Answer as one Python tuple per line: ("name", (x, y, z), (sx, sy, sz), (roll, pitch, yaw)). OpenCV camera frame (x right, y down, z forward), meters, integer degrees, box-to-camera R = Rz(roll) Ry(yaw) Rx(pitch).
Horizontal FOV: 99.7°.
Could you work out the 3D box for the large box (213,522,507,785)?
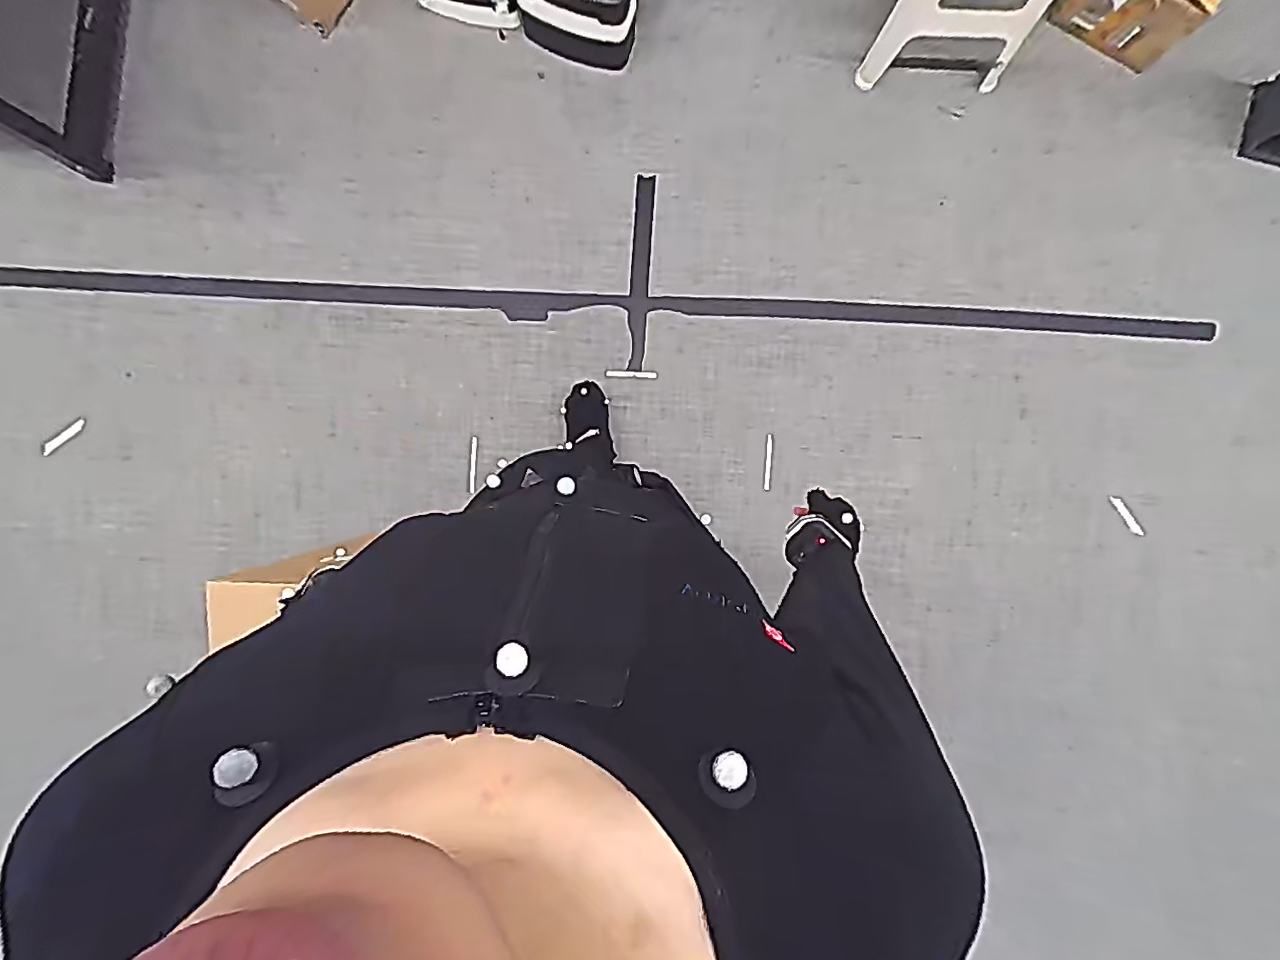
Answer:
("large box", (-0.444, 0.265, 0.963), (0.320, 0.408, 0.320), (0, 95, 5))
